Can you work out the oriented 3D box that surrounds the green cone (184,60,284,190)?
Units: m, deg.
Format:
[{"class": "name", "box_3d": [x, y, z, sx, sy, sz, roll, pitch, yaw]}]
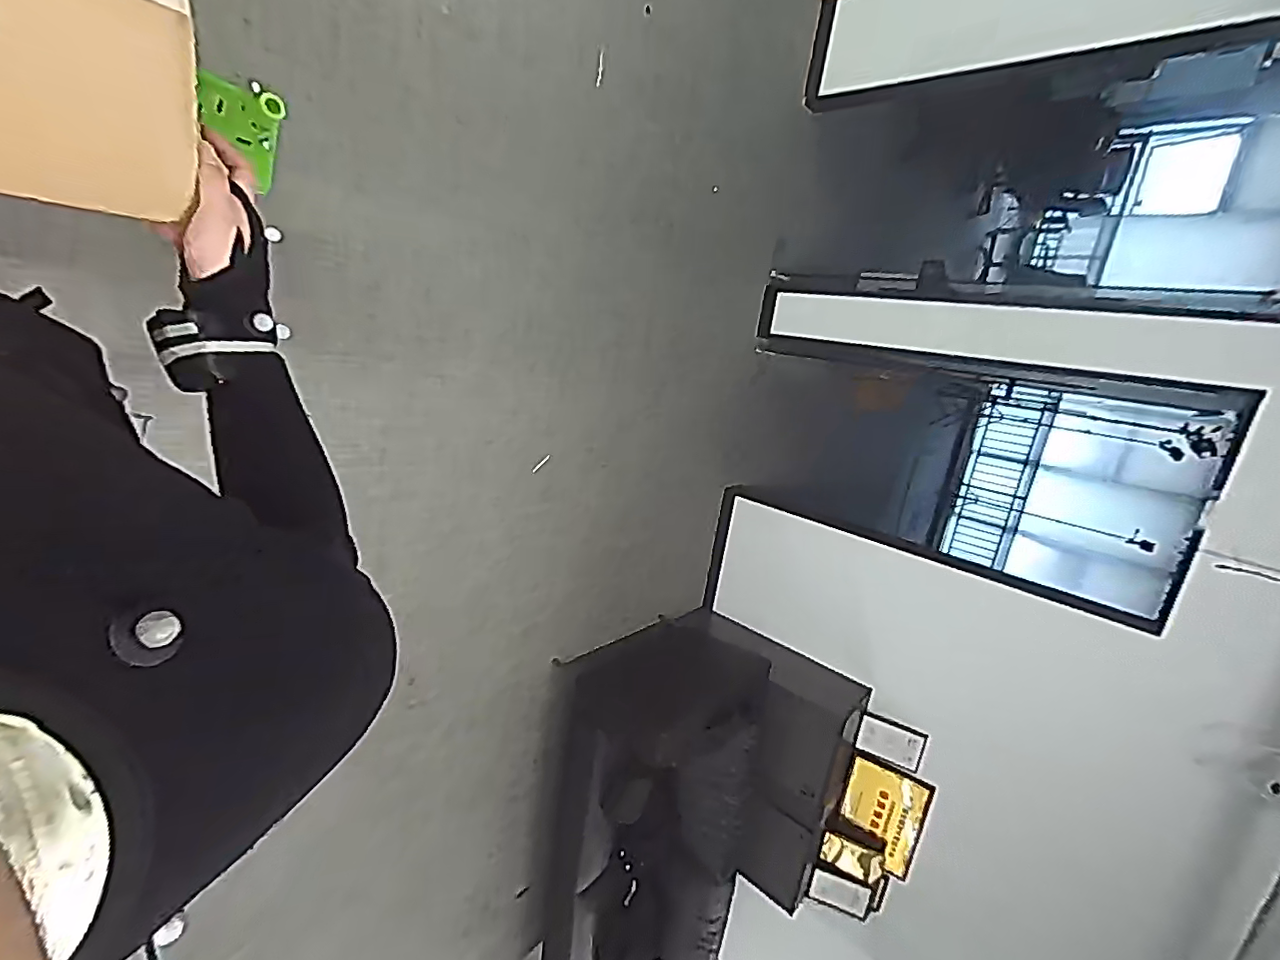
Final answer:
[{"class": "green cone", "box_3d": [-0.797, -0.734, 1.087, 0.200, 0.368, 0.202, 2, 103, -52]}]
